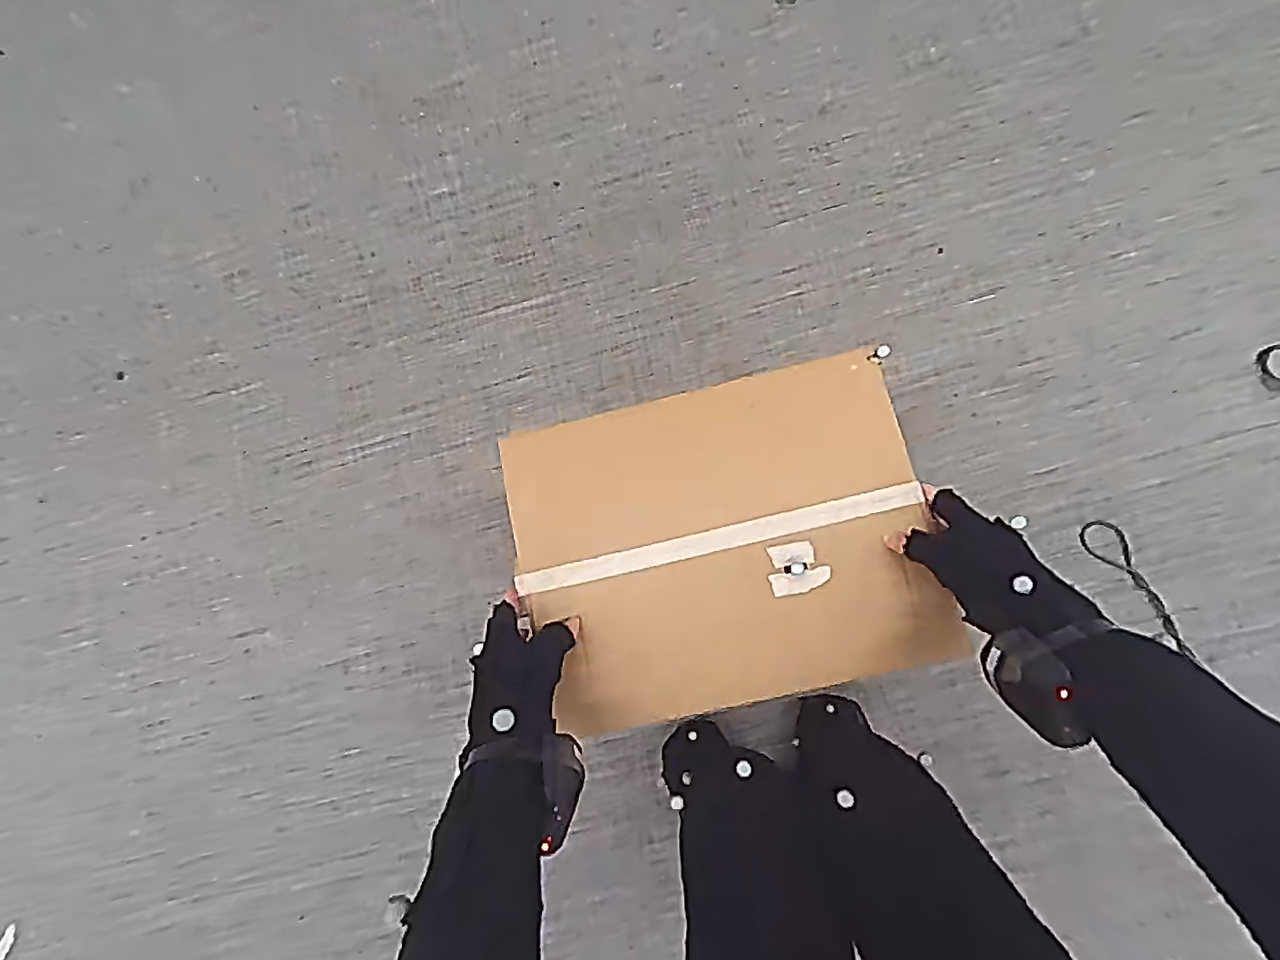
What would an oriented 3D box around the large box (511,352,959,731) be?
[{"bbox_3d":[0.096,0.084,0.704,0.408,0.320,0.320,-14,80,3],"label":"large box"}]
